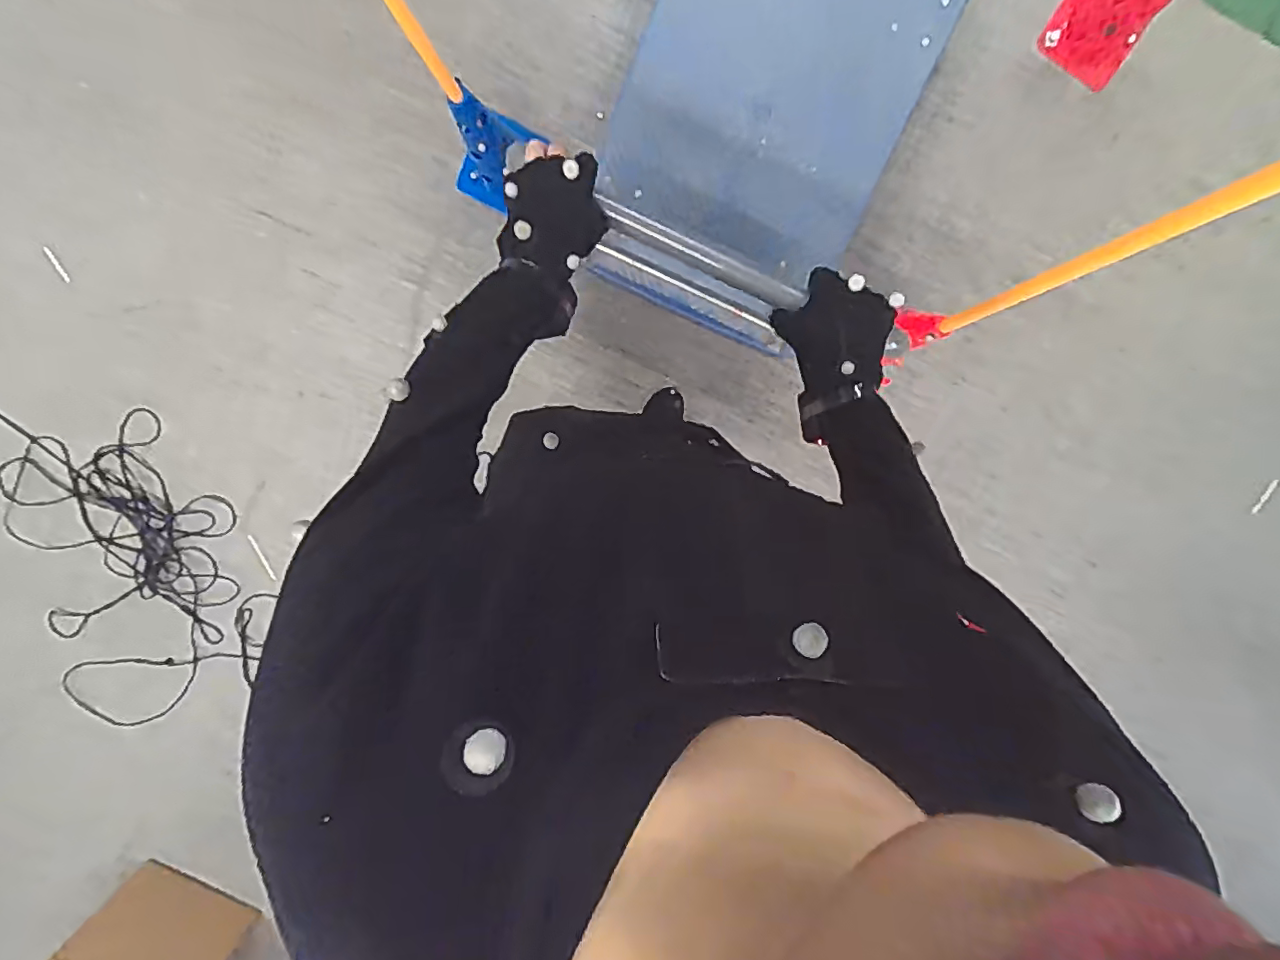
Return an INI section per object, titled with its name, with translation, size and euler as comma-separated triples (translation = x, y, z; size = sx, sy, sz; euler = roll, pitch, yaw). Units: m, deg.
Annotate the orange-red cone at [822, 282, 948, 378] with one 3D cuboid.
[orange-red cone]
translation = 0.590, -0.354, 1.234
size = 0.199, 0.360, 0.198
euler = 25, 100, -3
